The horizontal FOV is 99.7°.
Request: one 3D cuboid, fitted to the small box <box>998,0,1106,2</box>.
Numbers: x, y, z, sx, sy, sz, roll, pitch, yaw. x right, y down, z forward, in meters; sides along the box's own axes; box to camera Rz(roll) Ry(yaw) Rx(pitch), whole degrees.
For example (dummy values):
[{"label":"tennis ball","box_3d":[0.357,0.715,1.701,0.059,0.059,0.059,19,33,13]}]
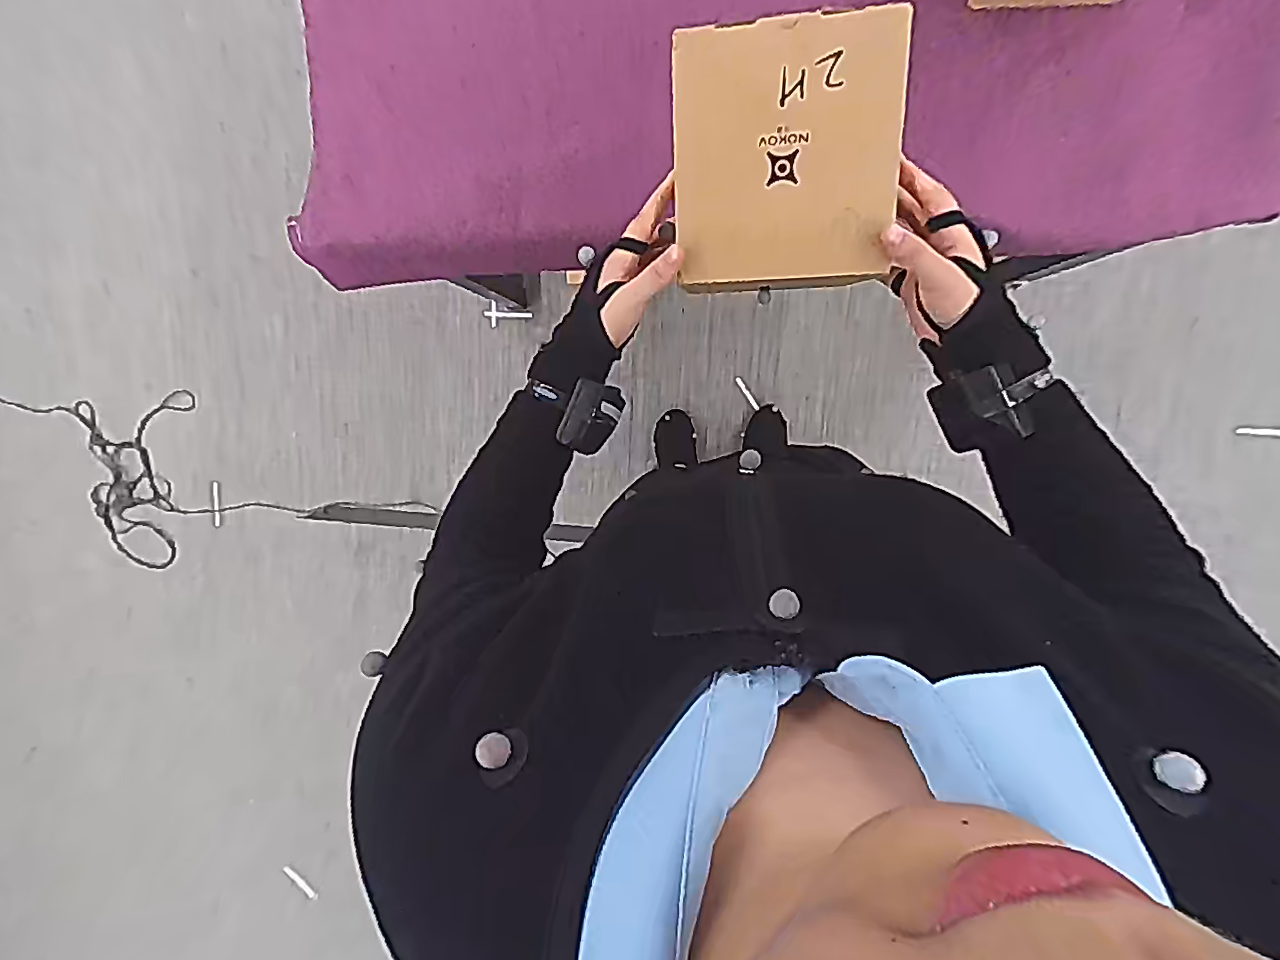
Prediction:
[{"label":"small box","box_3d":[0.469,-0.630,0.546,0.168,0.176,0.179,3,98,6]}]
